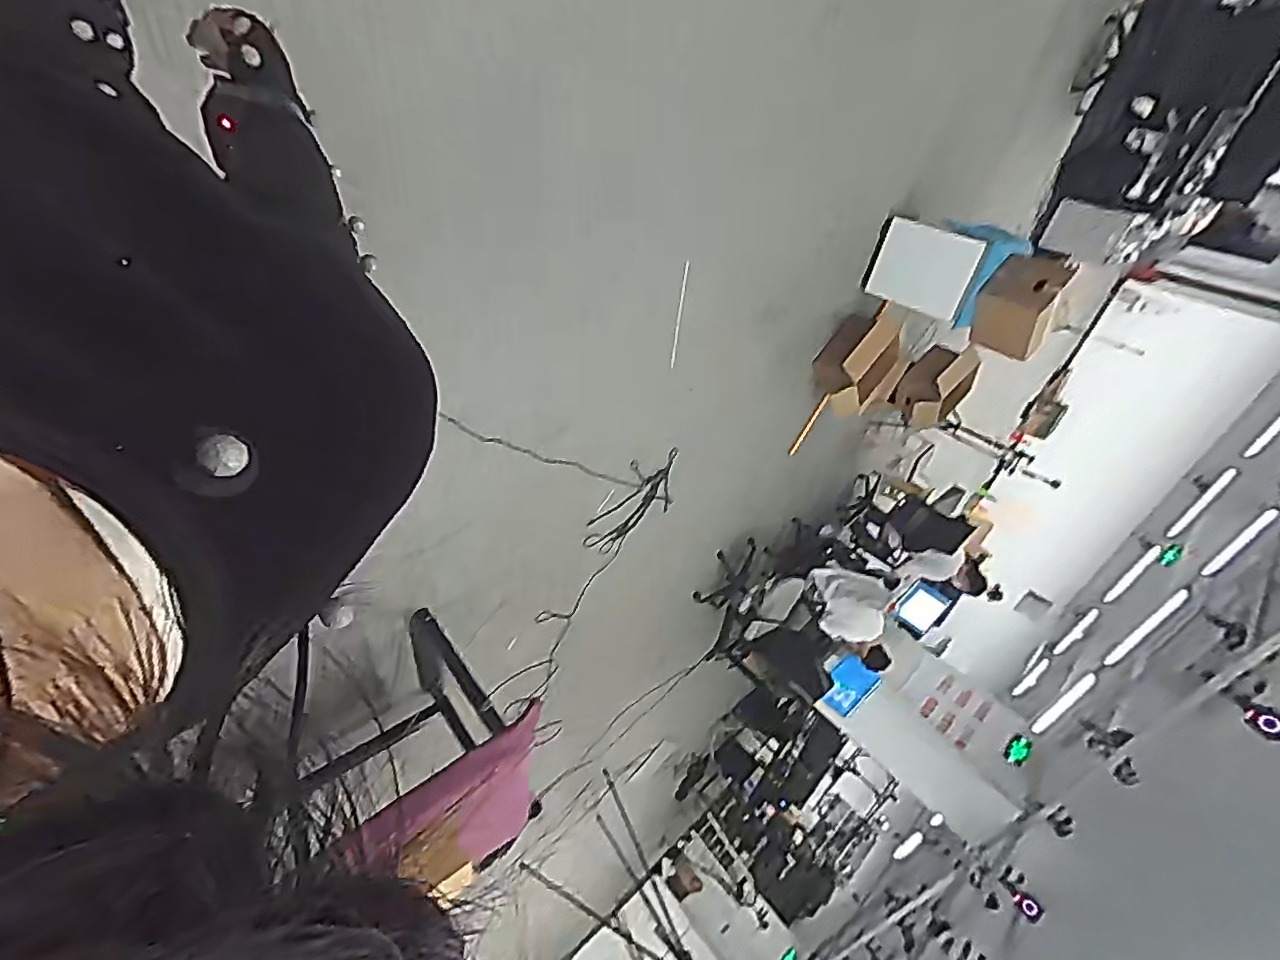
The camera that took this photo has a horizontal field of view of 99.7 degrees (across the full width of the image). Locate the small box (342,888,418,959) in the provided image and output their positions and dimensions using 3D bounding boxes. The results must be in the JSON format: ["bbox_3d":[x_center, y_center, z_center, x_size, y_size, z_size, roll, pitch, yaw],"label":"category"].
[{"bbox_3d":[-0.780,1.366,1.606,0.168,0.176,0.179,-13,131,-43],"label":"small box"}]

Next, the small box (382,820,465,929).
[{"bbox_3d":[-0.626,1.138,1.570,0.168,0.176,0.179,-24,138,-37],"label":"small box"}]

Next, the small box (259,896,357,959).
[{"bbox_3d":[-0.845,1.221,1.384,0.168,0.176,0.179,-22,138,-37],"label":"small box"}]
